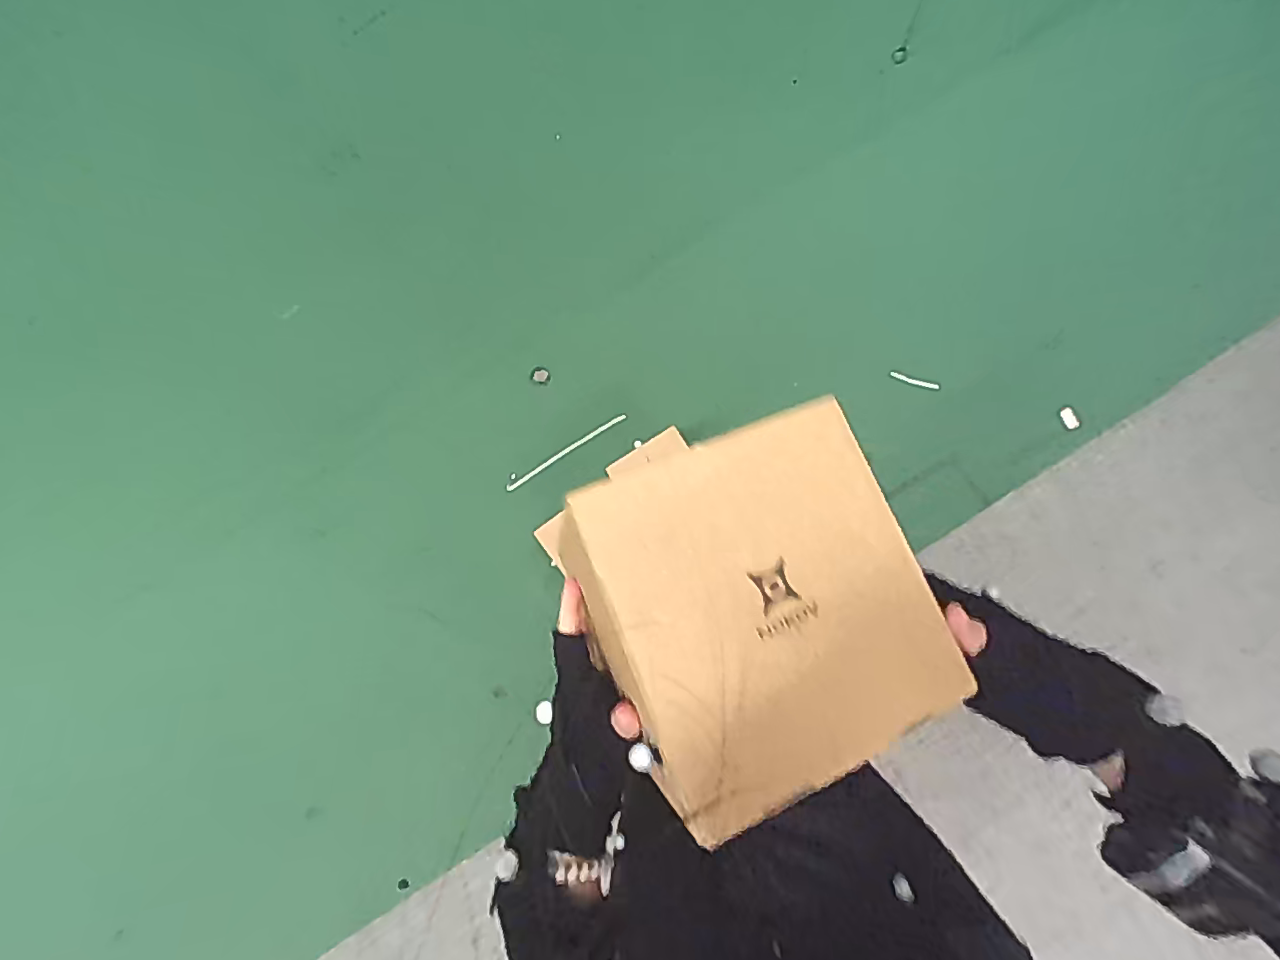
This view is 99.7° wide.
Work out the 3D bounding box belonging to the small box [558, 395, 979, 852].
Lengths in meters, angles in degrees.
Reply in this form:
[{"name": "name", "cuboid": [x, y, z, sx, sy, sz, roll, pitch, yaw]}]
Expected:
[{"name": "small box", "cuboid": [0.053, 0.076, 0.343, 0.168, 0.176, 0.179, -22, 82, -14]}]
